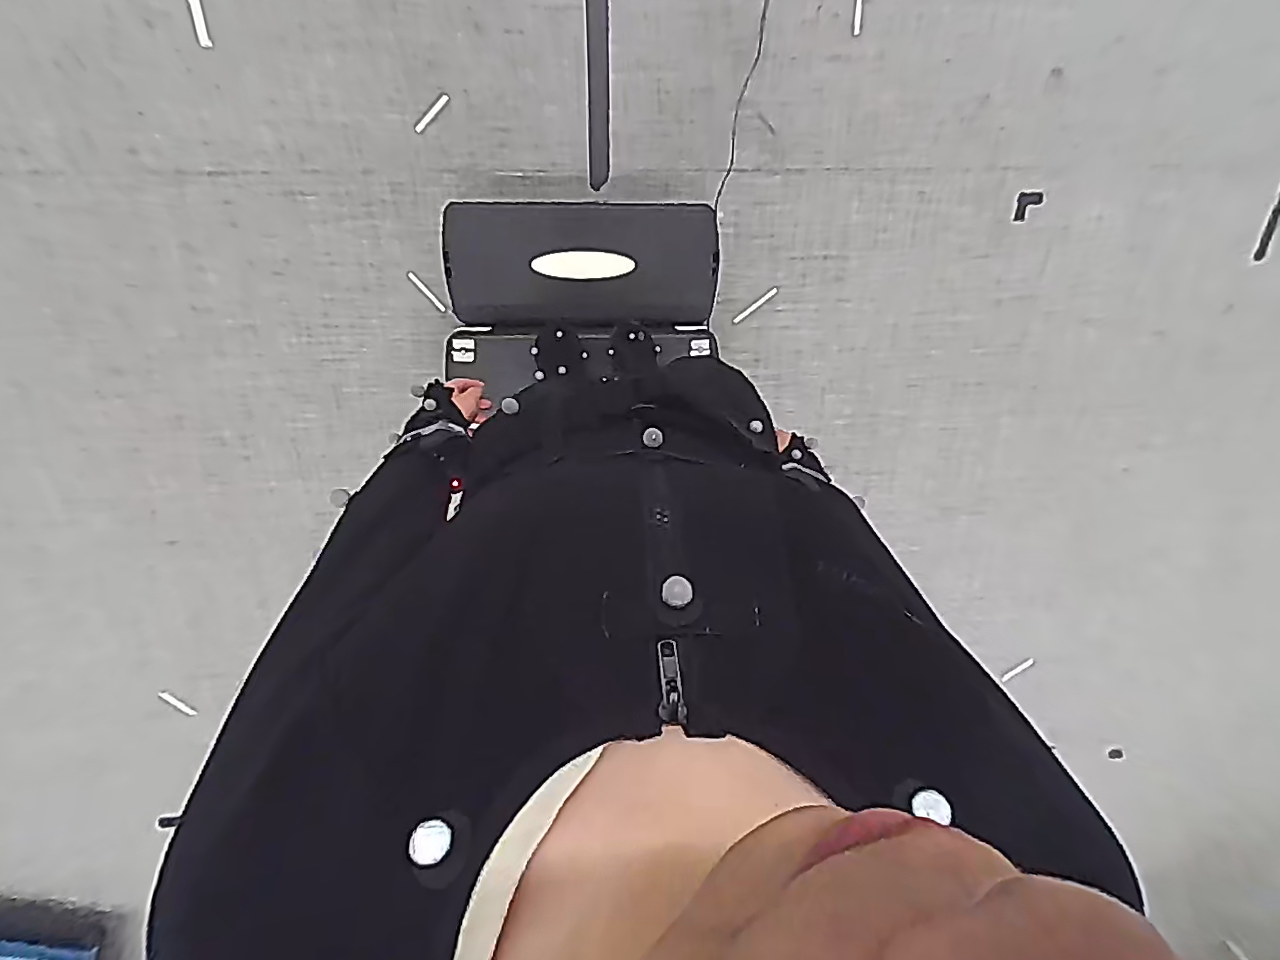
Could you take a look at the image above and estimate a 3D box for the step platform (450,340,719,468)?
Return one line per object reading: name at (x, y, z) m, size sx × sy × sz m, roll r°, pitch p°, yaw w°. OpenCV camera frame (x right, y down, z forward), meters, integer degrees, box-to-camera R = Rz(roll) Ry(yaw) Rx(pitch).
step platform at (-0.137, -0.197, 1.414) m, size 0.684 × 0.204 × 0.286 m, roll 3°, pitch 108°, yaw -4°
